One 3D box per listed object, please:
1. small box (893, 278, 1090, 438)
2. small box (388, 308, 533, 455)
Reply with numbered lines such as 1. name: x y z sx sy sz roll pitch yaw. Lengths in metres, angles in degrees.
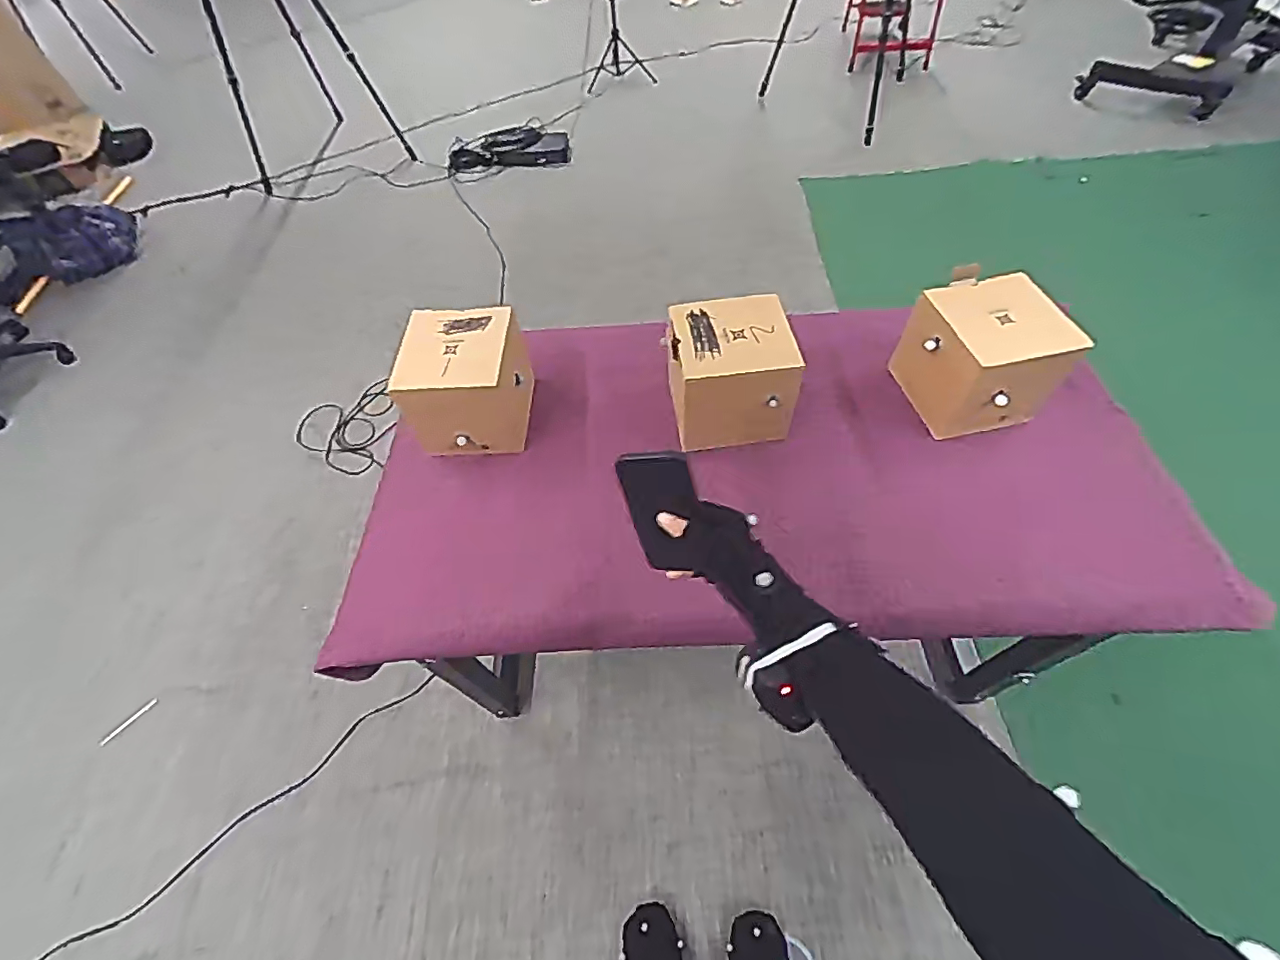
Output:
1. small box: 0.533 -0.183 0.852 0.168 0.176 0.179 -11 55 -3
2. small box: -0.279 -0.159 0.891 0.168 0.176 0.179 -1 57 3
